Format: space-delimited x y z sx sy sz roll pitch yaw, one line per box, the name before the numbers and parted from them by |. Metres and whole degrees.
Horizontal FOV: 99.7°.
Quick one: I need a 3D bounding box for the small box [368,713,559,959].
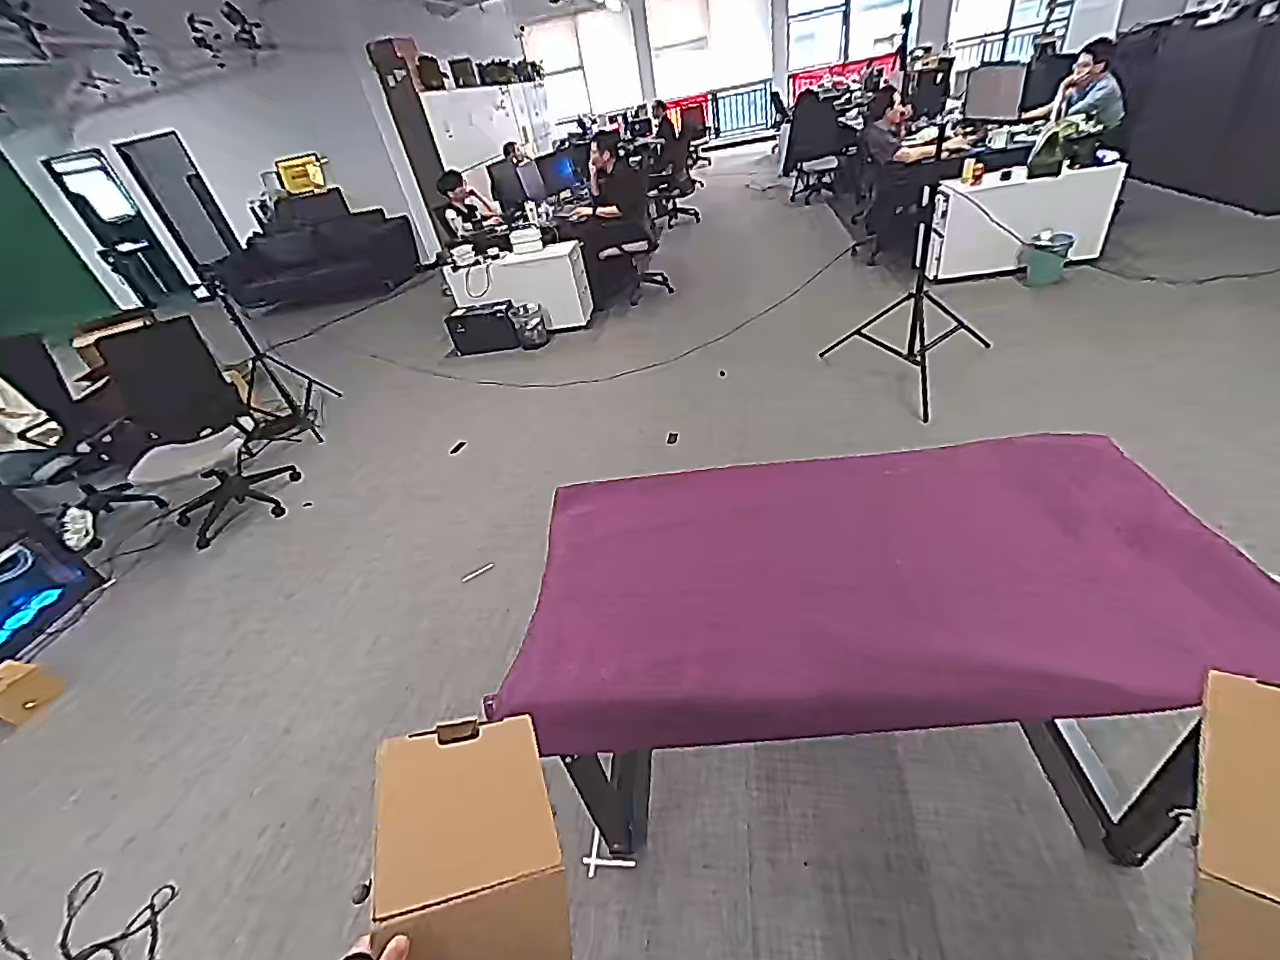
small box | -0.193 0.390 0.580 0.168 0.176 0.179 1 28 -24
